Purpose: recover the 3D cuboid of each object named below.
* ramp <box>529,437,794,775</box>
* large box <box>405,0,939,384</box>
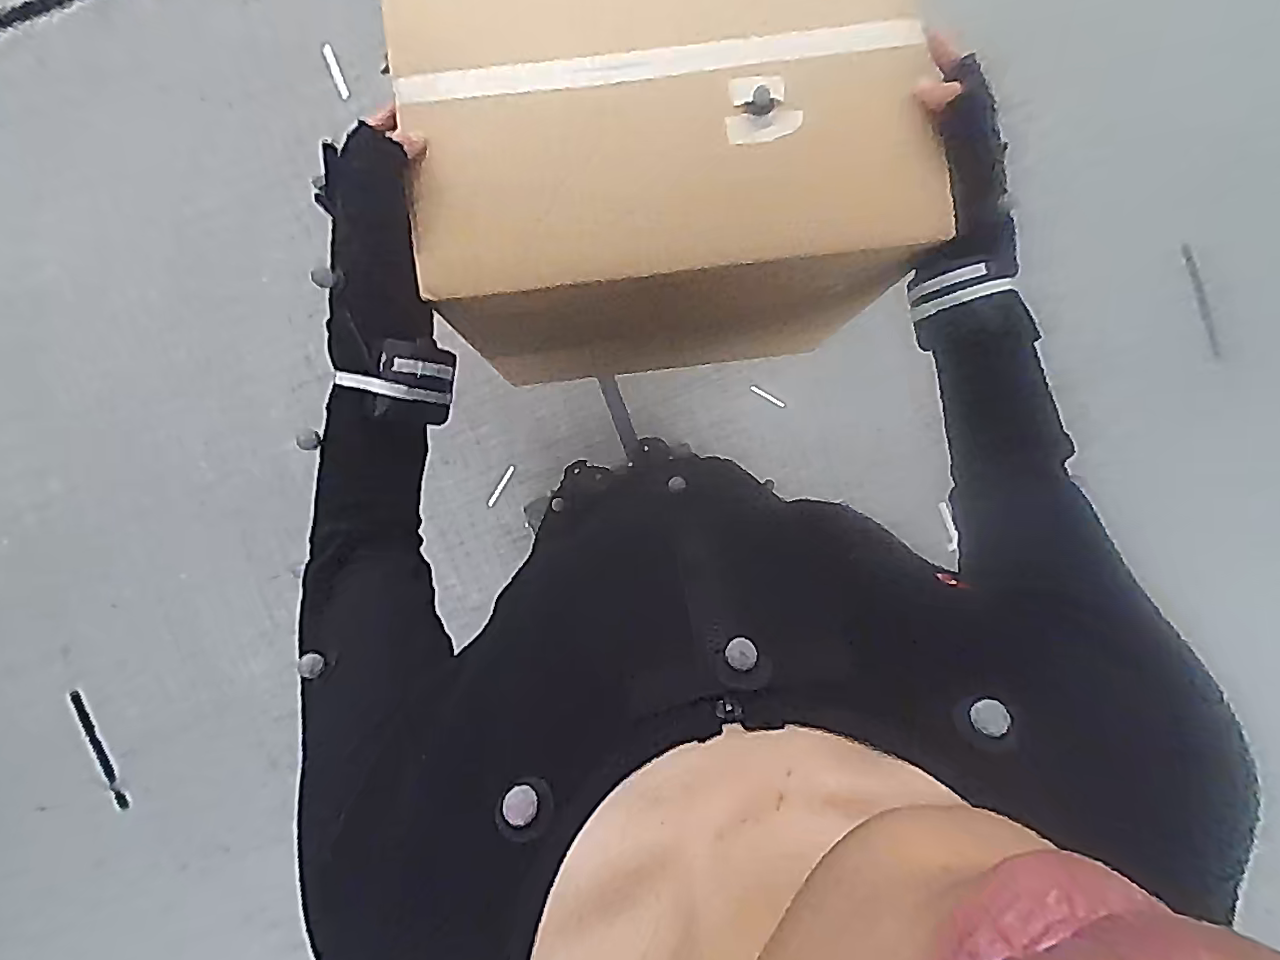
[{"bbox_3d":[0.097,0.412,1.612,0.509,0.206,0.991,-24,95,-1],"label":"ramp"},{"bbox_3d":[0.017,-0.309,0.577,0.408,0.320,0.320,-7,88,-2],"label":"large box"}]
